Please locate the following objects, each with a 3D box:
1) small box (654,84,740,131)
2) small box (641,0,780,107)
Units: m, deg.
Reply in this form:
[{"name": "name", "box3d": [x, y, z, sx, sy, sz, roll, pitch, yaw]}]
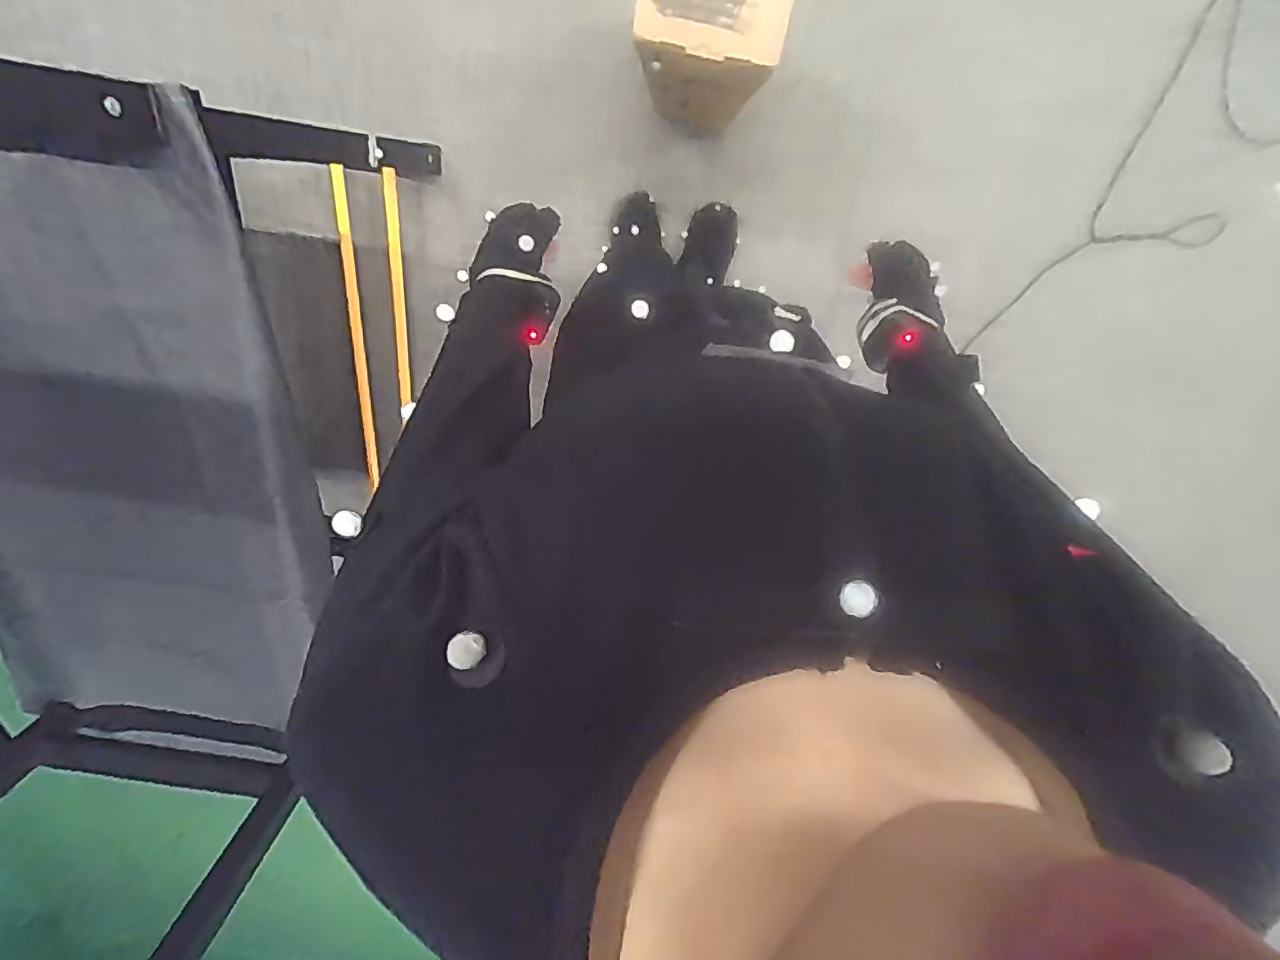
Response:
[{"name": "small box", "box3d": [0.130, -0.813, 1.060, 0.168, 0.176, 0.179, 15, 118, -2]}, {"name": "small box", "box3d": [0.104, -0.660, 0.774, 0.168, 0.176, 0.179, 12, 118, -2]}]
